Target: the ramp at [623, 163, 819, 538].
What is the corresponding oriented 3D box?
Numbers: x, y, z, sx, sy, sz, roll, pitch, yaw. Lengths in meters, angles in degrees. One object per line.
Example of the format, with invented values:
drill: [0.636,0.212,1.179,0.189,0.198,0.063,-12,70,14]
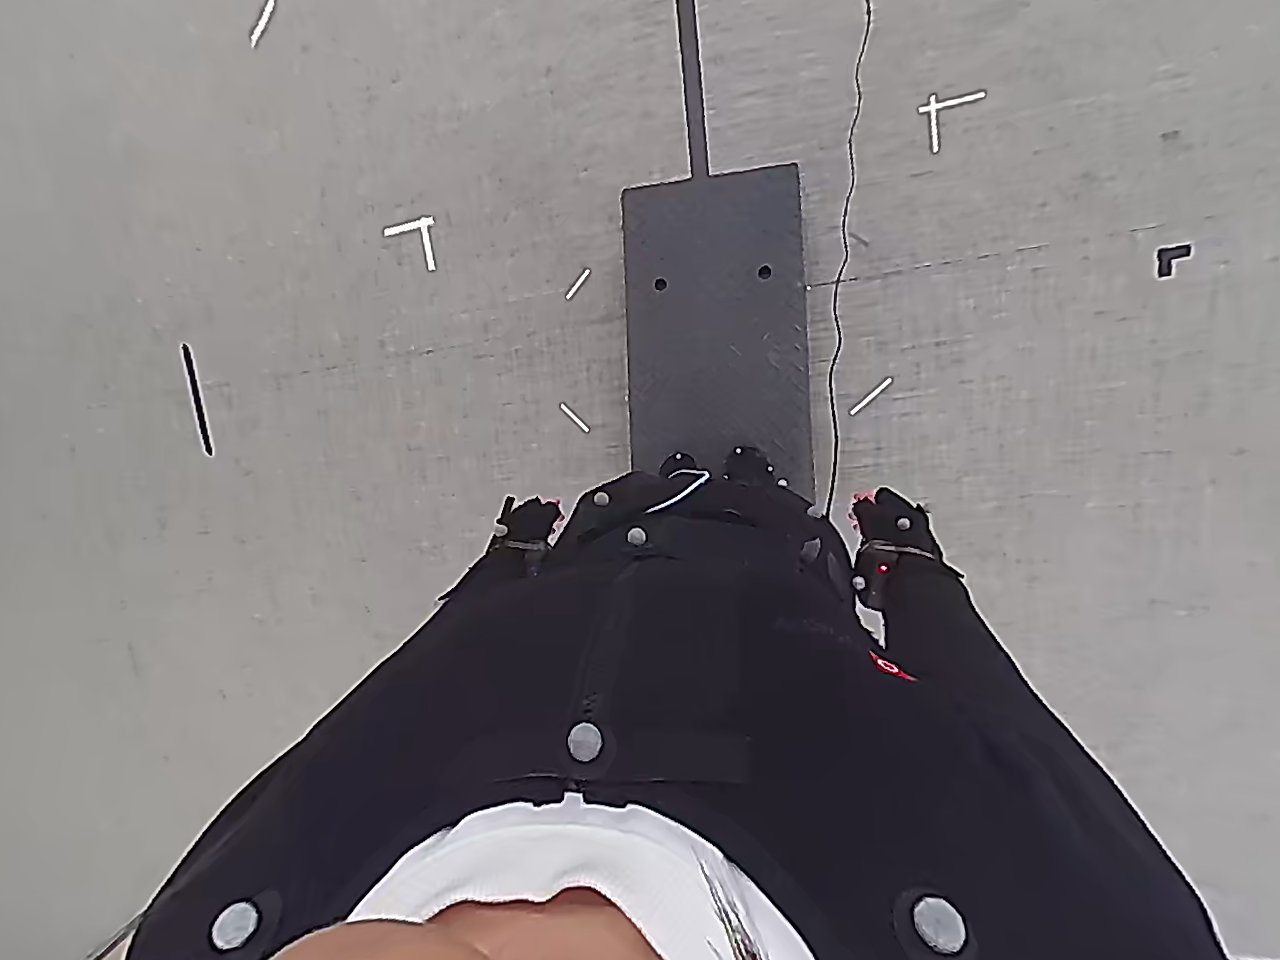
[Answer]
ramp: [0.205,-0.345,1.476,0.509,0.206,0.991,-4,96,13]
